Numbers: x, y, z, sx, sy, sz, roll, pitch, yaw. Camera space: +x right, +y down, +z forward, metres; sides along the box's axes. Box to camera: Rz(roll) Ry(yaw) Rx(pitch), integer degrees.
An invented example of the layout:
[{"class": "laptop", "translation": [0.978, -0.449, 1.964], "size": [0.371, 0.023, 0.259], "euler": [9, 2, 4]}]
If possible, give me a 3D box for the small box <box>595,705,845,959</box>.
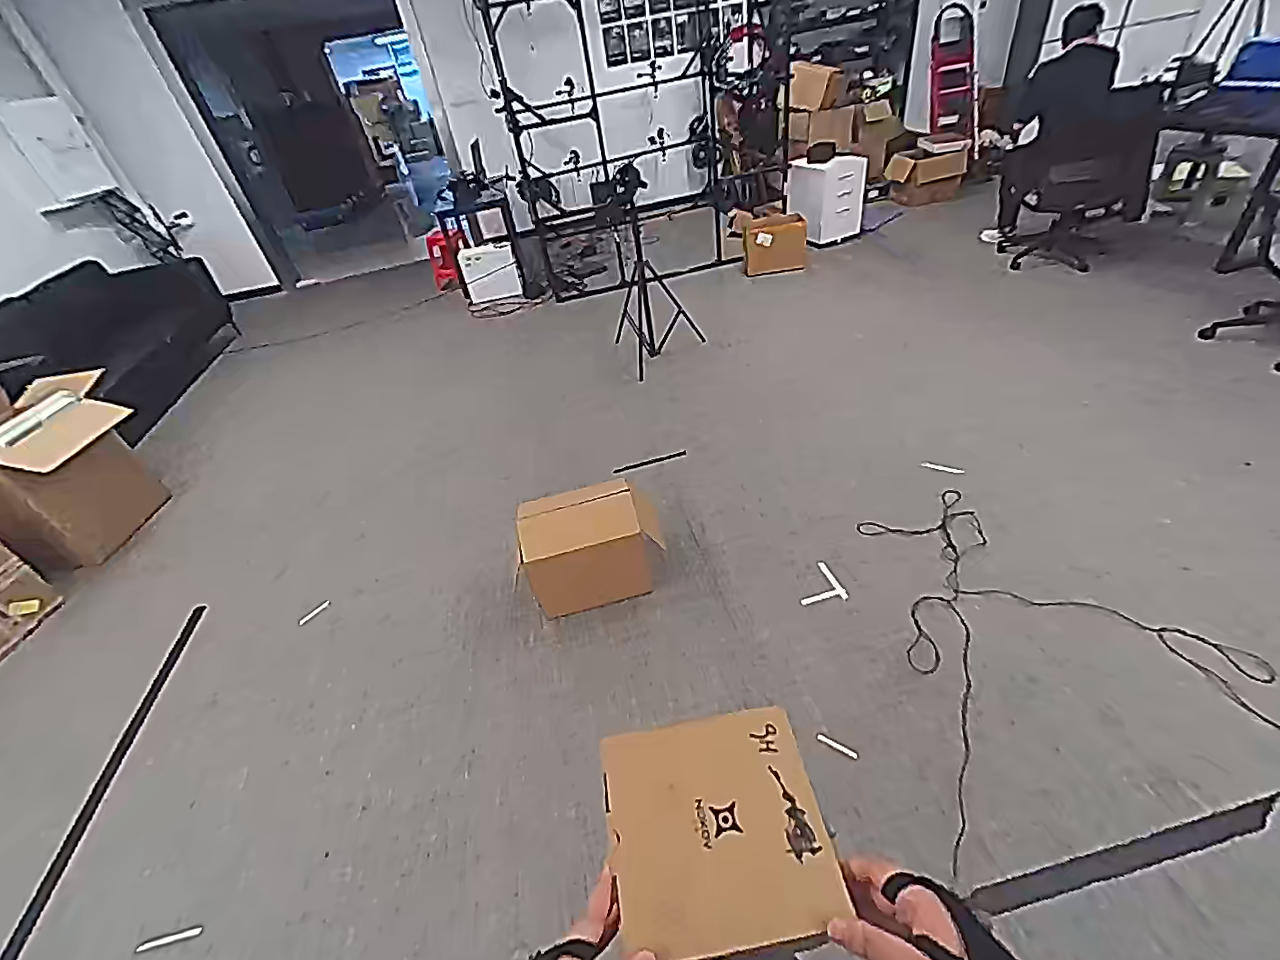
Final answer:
[{"class": "small box", "translation": [0.061, 0.338, 0.503], "size": [0.179, 0.176, 0.168], "euler": [-9, 45, -5]}]
